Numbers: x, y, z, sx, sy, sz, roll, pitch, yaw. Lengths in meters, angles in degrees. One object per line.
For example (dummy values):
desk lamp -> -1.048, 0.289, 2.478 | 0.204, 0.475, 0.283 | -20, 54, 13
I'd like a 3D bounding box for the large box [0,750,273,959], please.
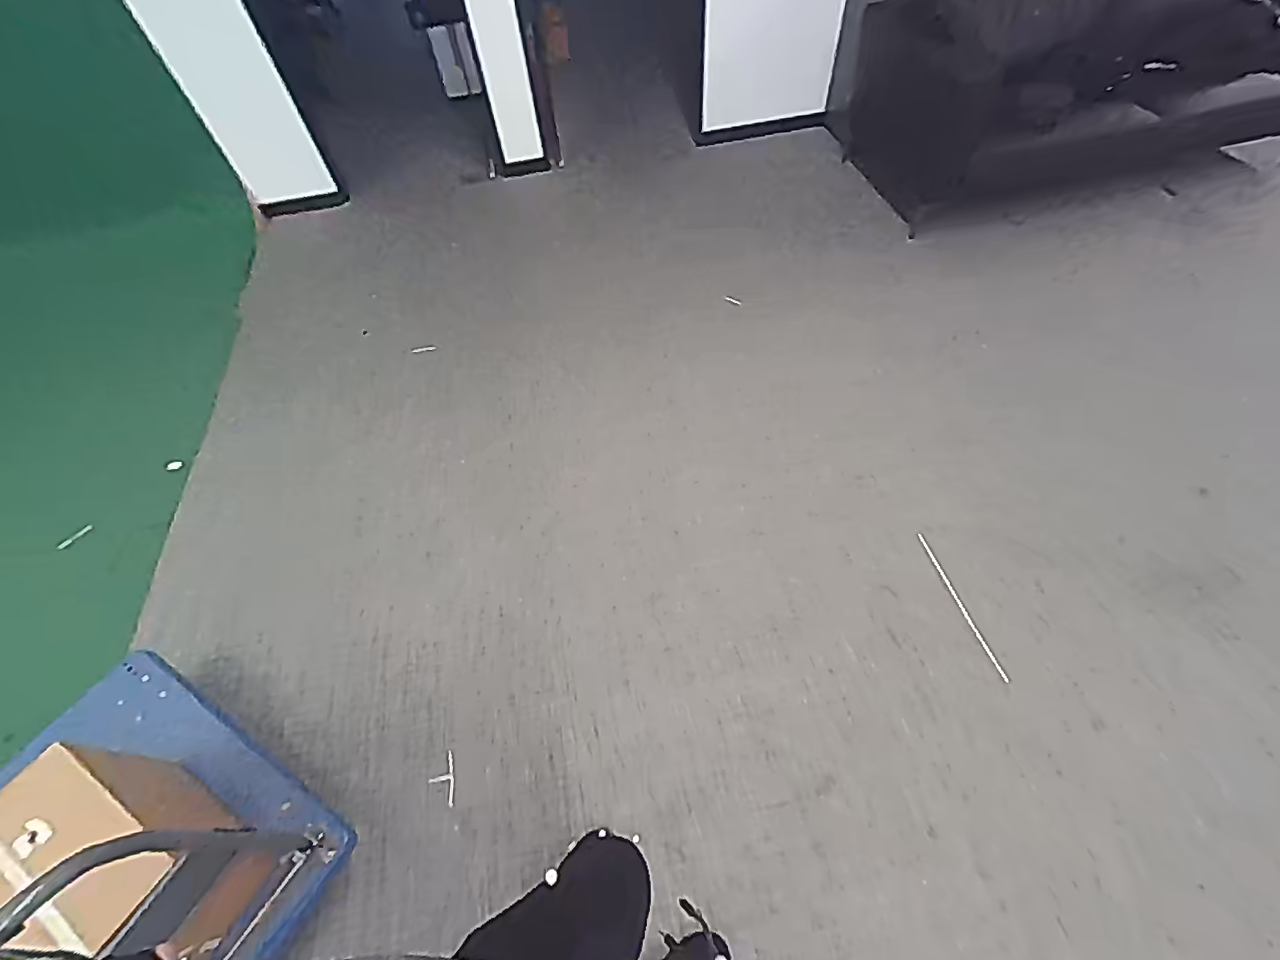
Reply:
large box -> -1.044, 0.797, 1.048 | 0.408, 0.320, 0.320 | 24, 59, 20
